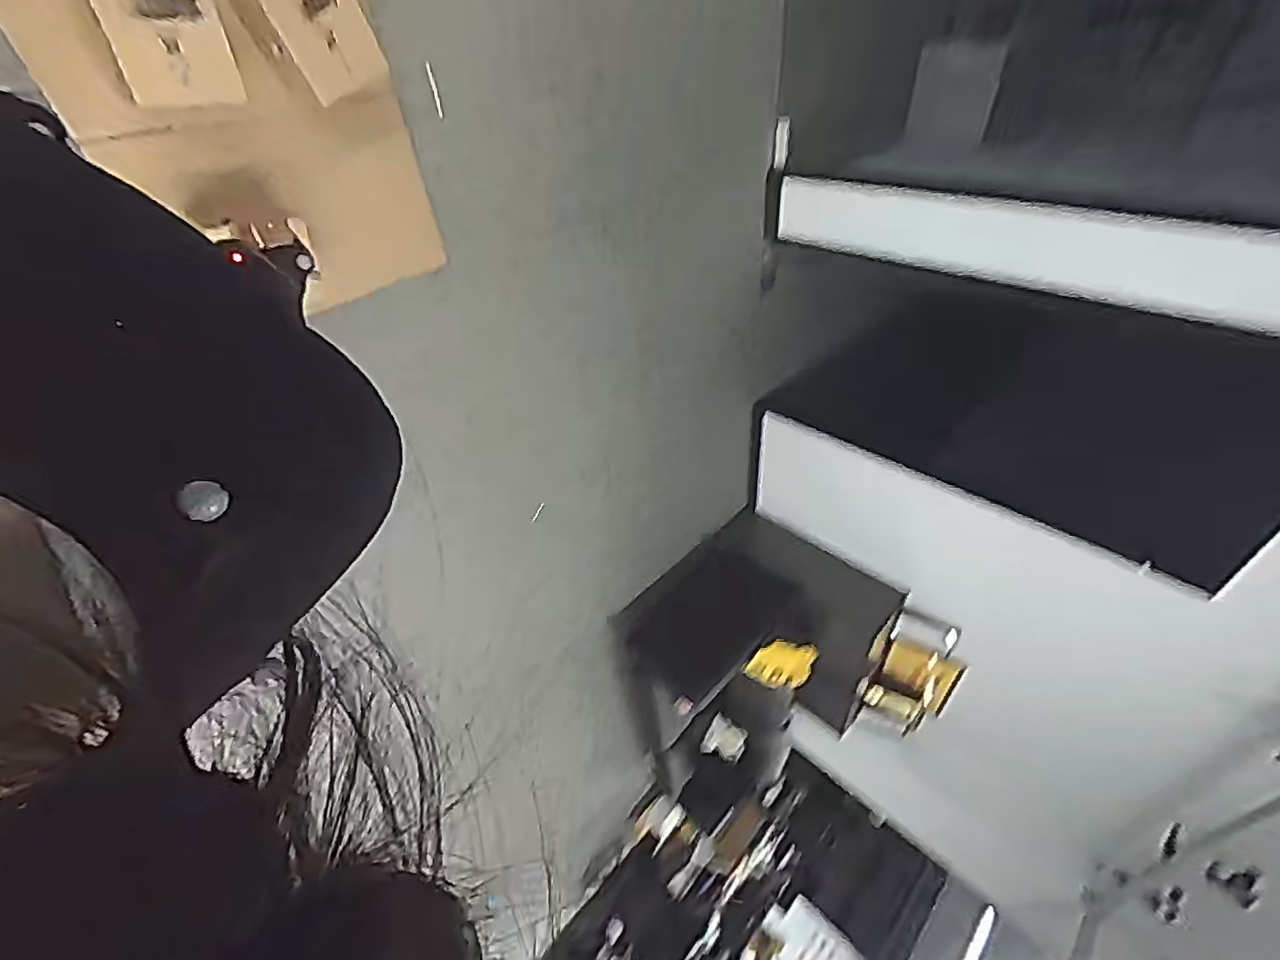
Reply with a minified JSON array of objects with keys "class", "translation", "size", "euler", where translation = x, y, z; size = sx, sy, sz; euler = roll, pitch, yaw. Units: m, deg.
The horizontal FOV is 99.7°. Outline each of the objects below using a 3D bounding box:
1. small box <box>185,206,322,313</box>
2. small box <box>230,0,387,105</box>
[{"class":"small box","translation":[-0.811,-0.467,1.132],"size":[0.179,0.176,0.168],"euler":[-30,137,-36]},{"class":"small box","translation":[-0.643,-0.863,1.051],"size":[0.168,0.176,0.179],"euler":[-45,145,-19]}]
